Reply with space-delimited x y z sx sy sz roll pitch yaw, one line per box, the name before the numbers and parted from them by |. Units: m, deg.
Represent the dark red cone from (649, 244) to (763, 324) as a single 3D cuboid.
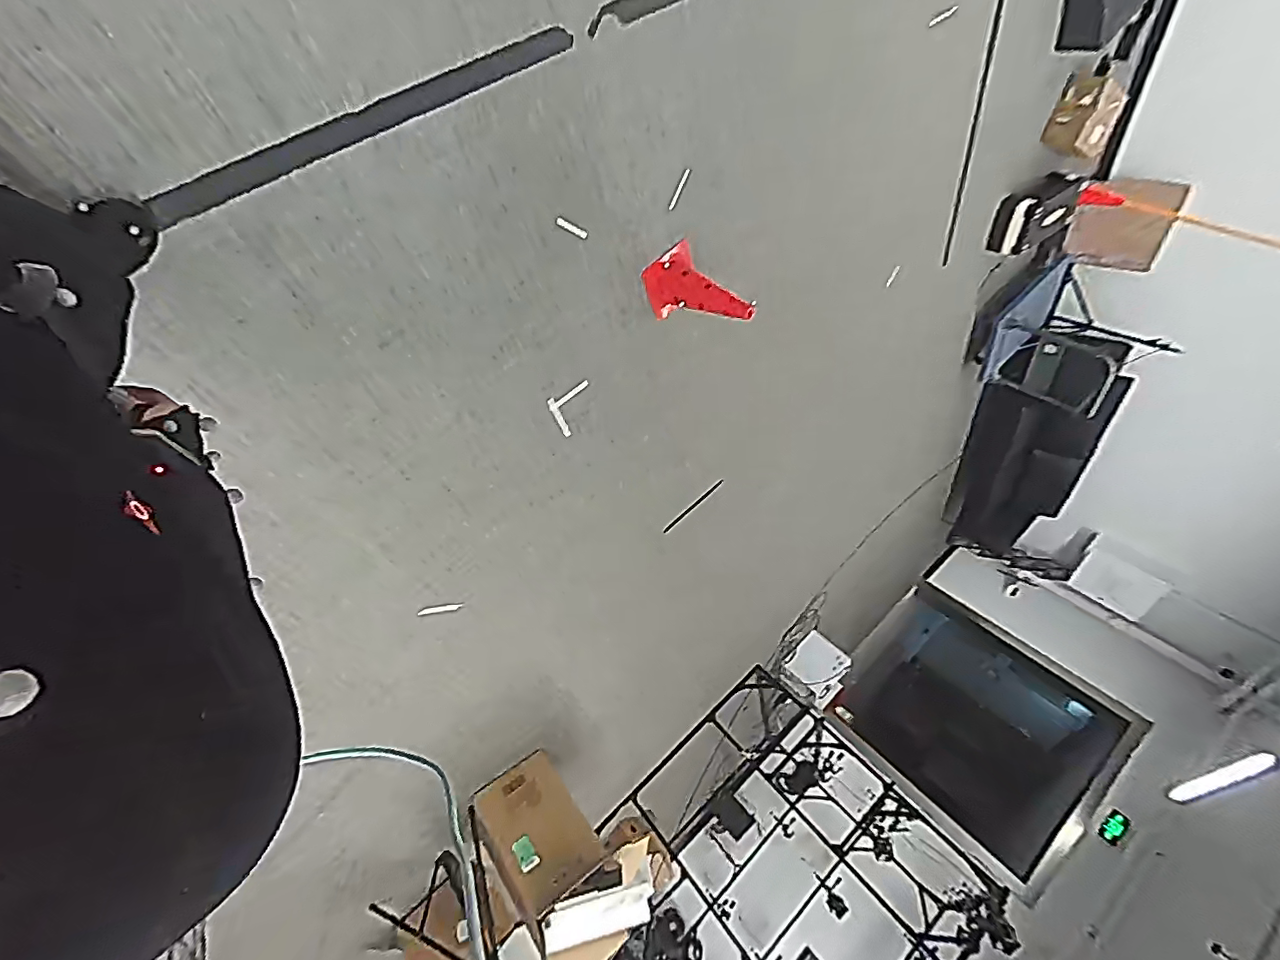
dark red cone | 0.222 -0.562 1.672 0.202 0.394 0.201 -44 141 -11
